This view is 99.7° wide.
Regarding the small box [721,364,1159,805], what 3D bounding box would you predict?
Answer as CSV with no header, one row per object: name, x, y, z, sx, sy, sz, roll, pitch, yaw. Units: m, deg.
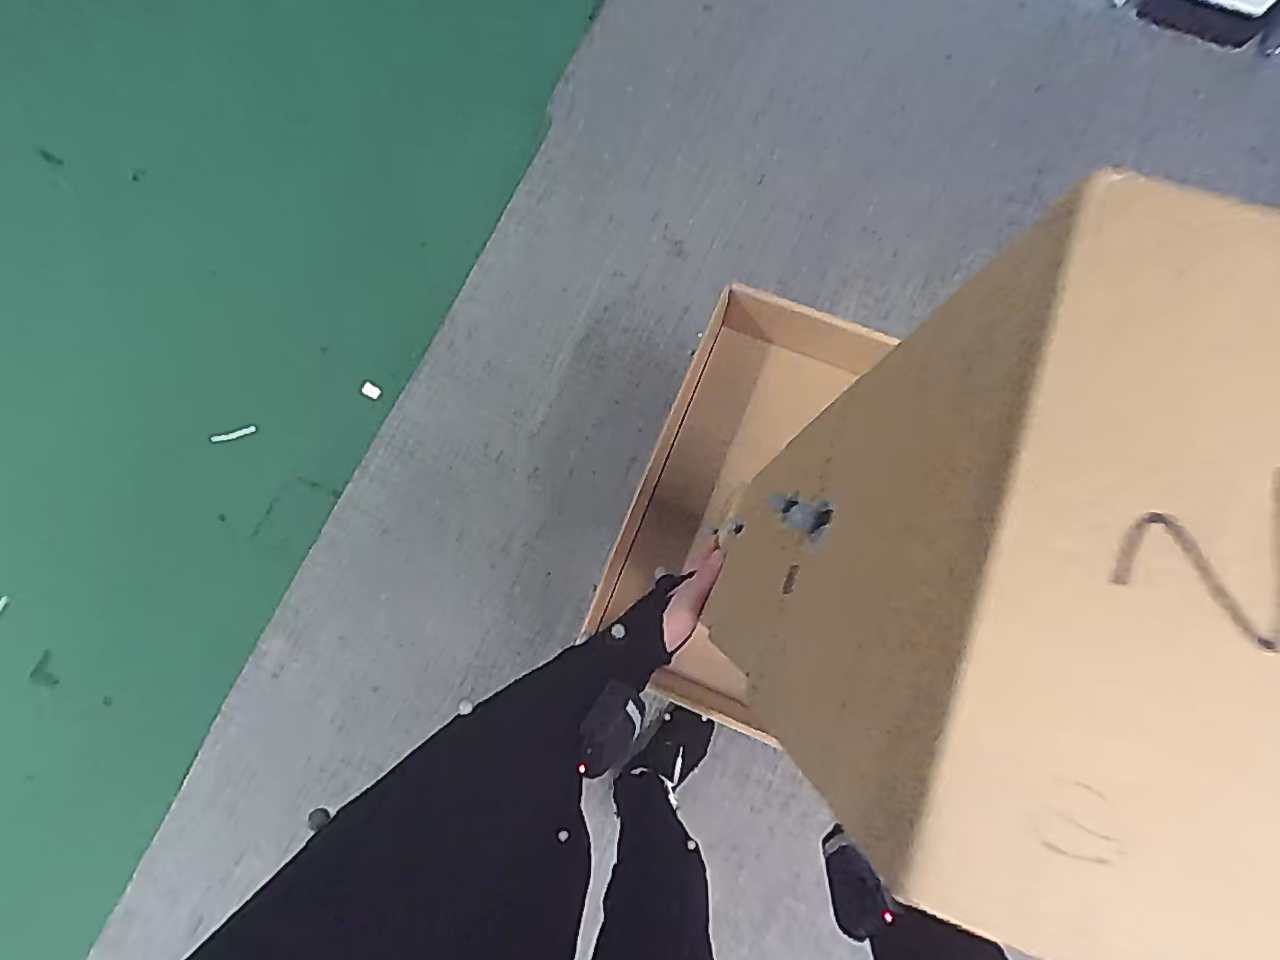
small box,0.164,0.059,0.354,0.168,0.176,0.179,24,82,5

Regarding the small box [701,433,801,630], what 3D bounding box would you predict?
small box,0.167,0.084,0.517,0.168,0.176,0.179,26,81,4

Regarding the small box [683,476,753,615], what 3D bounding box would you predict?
small box,0.164,0.115,0.678,0.179,0.176,0.168,24,81,4
